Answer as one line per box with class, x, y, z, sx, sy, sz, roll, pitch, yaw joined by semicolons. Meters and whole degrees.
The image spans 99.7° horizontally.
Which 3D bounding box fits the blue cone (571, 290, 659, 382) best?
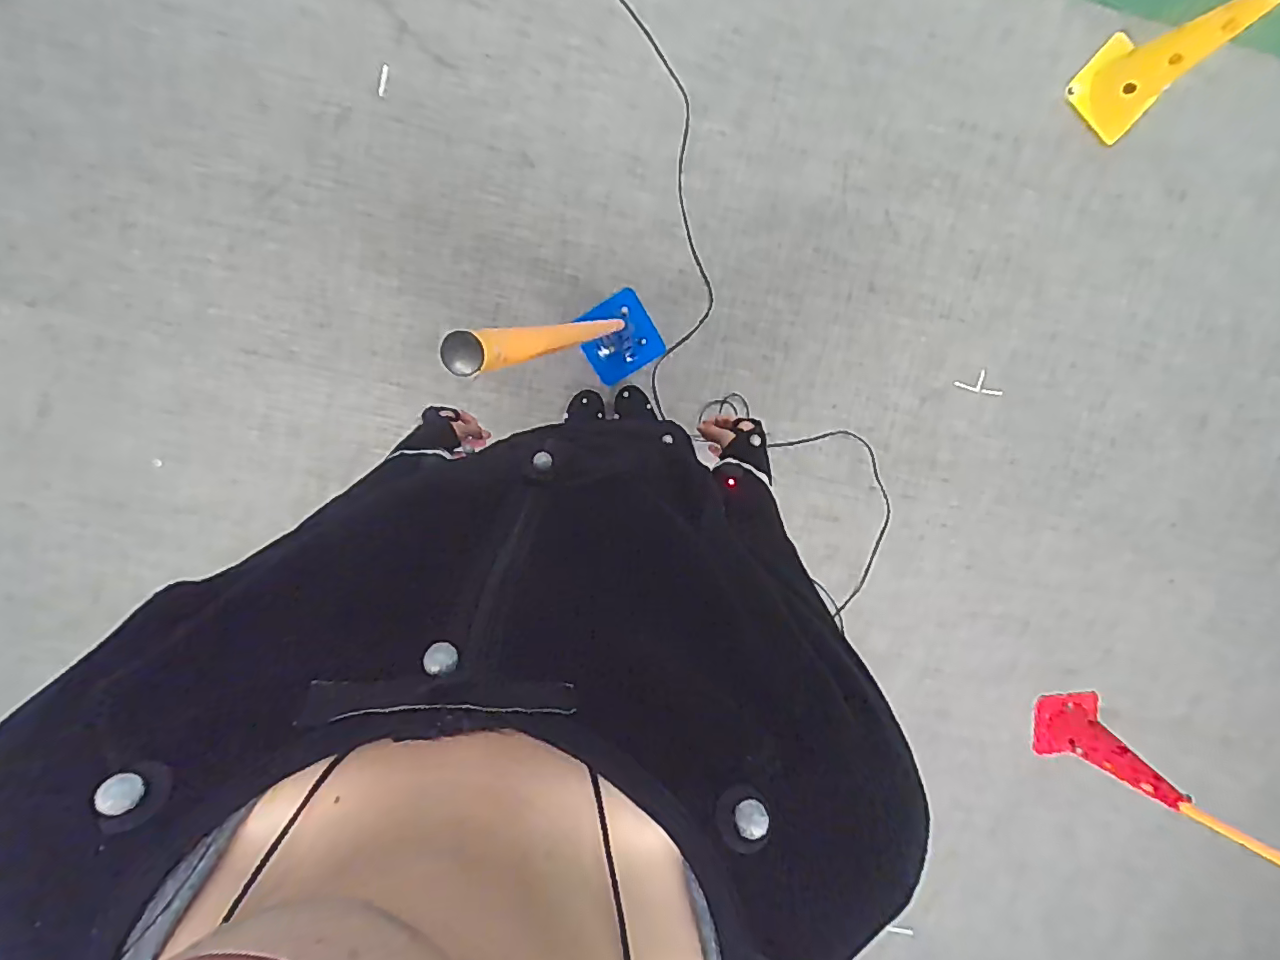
blue cone;-0.057;-0.342;1.261;0.193;0.380;0.192;-32;100;4
